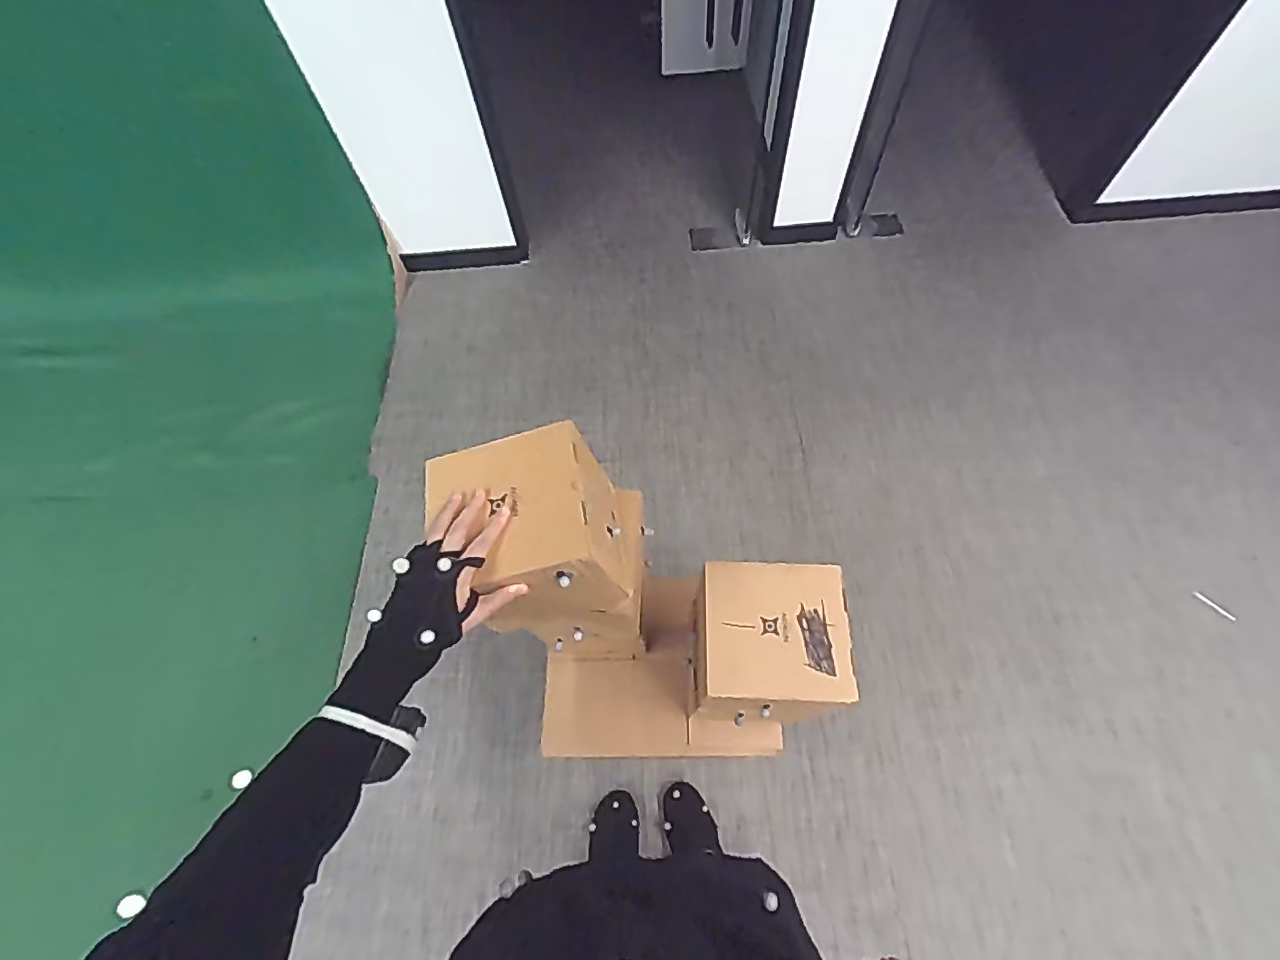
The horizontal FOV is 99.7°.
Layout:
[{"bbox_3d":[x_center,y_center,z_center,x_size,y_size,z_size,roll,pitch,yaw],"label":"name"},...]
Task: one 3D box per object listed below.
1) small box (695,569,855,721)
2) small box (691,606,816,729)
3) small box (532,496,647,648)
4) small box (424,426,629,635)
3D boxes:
[{"bbox_3d":[0.167,0.226,0.726,0.179,0.176,0.168,1,62,4],"label":"small box"},{"bbox_3d":[0.171,0.305,0.869,0.179,0.176,0.168,0,63,4],"label":"small box"},{"bbox_3d":[-0.080,0.136,0.793,0.168,0.176,0.179,2,62,6],"label":"small box"},{"bbox_3d":[-0.128,0.069,0.636,0.179,0.176,0.168,-18,59,6],"label":"small box"}]
